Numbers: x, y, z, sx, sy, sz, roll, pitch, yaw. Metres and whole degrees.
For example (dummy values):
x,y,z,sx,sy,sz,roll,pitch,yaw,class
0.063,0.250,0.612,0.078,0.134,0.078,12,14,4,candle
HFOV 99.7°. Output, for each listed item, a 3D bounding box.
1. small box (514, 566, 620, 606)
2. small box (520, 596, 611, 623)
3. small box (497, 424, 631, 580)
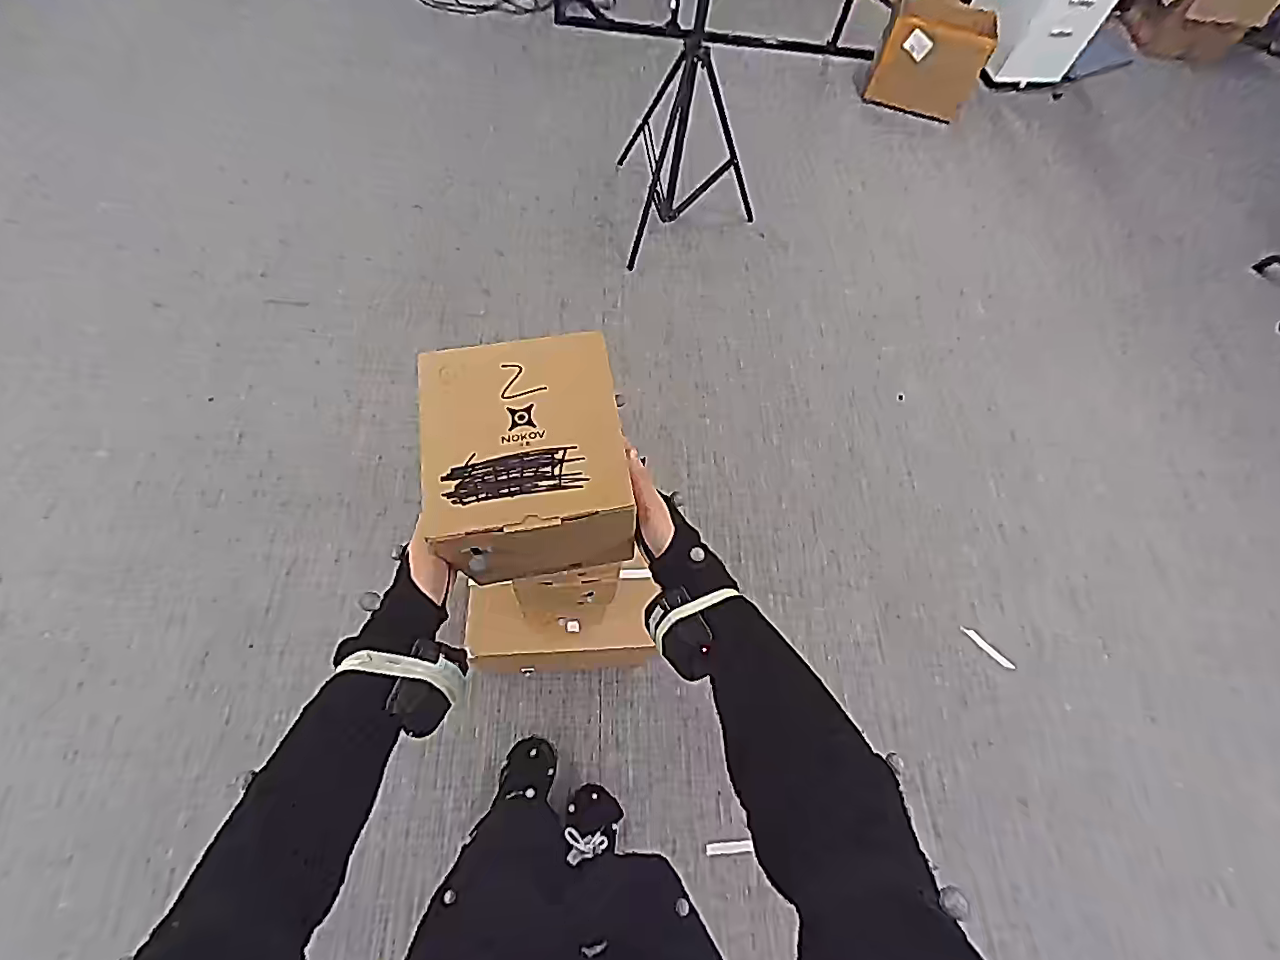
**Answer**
x,y,z,sx,sy,sz,roll,pitch,yaw,class
-0.126,0.114,0.932,0.168,0.176,0.179,-2,64,-9,small box
-0.148,0.179,1.079,0.168,0.176,0.179,-1,65,-7,small box
-0.112,0.040,0.785,0.168,0.176,0.179,-6,66,-11,small box
